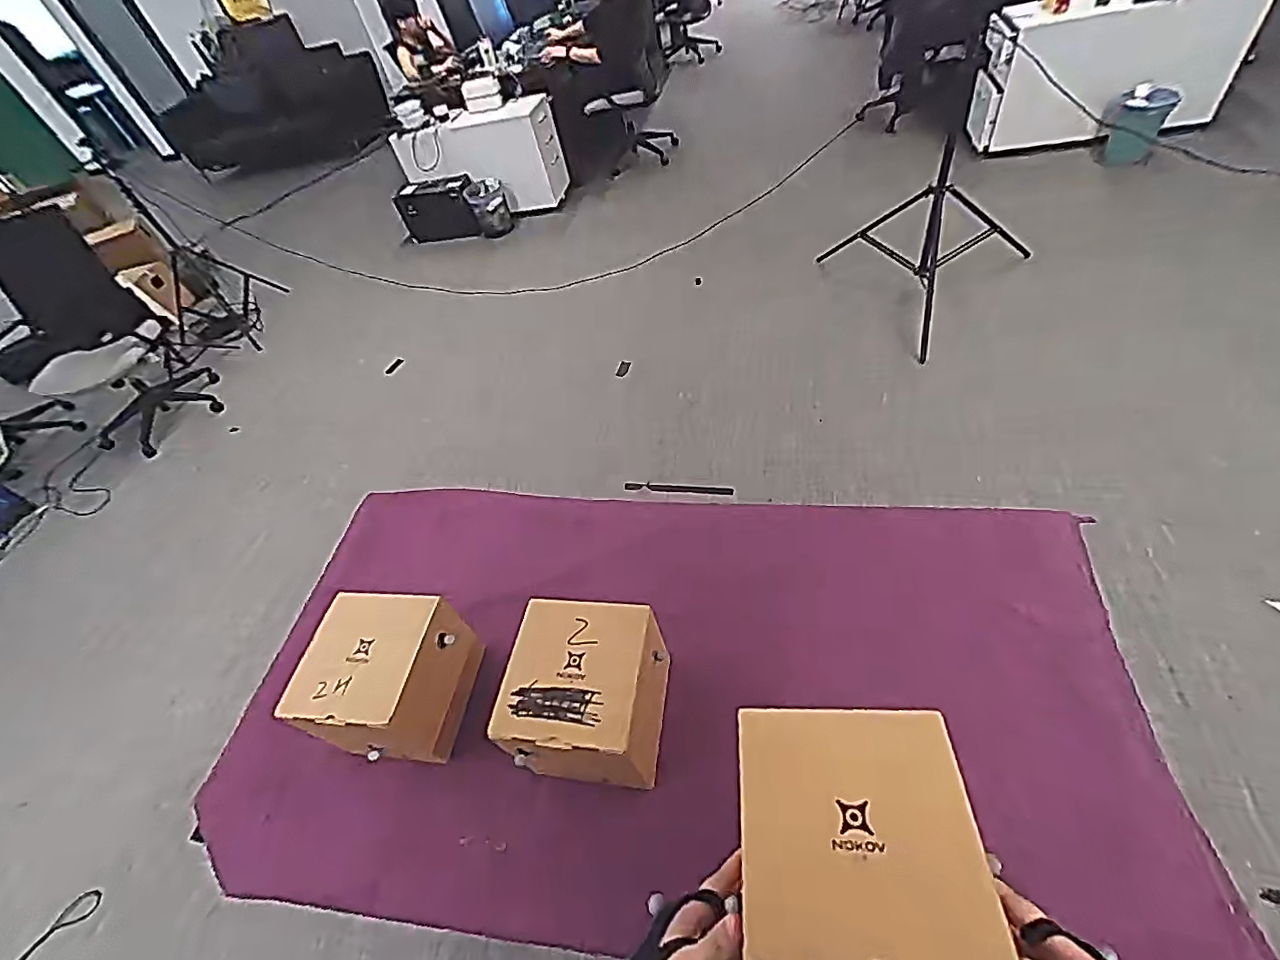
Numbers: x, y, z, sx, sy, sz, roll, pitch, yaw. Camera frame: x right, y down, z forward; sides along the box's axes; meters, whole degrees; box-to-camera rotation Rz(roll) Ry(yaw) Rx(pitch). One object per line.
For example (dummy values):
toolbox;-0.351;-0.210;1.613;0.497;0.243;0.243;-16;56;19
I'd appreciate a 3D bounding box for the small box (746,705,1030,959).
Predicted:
small box;0.173;0.308;0.436;0.168;0.176;0.179;-4;39;12

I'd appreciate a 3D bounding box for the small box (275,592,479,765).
small box;-0.348;0.278;0.761;0.168;0.176;0.179;-1;50;12
